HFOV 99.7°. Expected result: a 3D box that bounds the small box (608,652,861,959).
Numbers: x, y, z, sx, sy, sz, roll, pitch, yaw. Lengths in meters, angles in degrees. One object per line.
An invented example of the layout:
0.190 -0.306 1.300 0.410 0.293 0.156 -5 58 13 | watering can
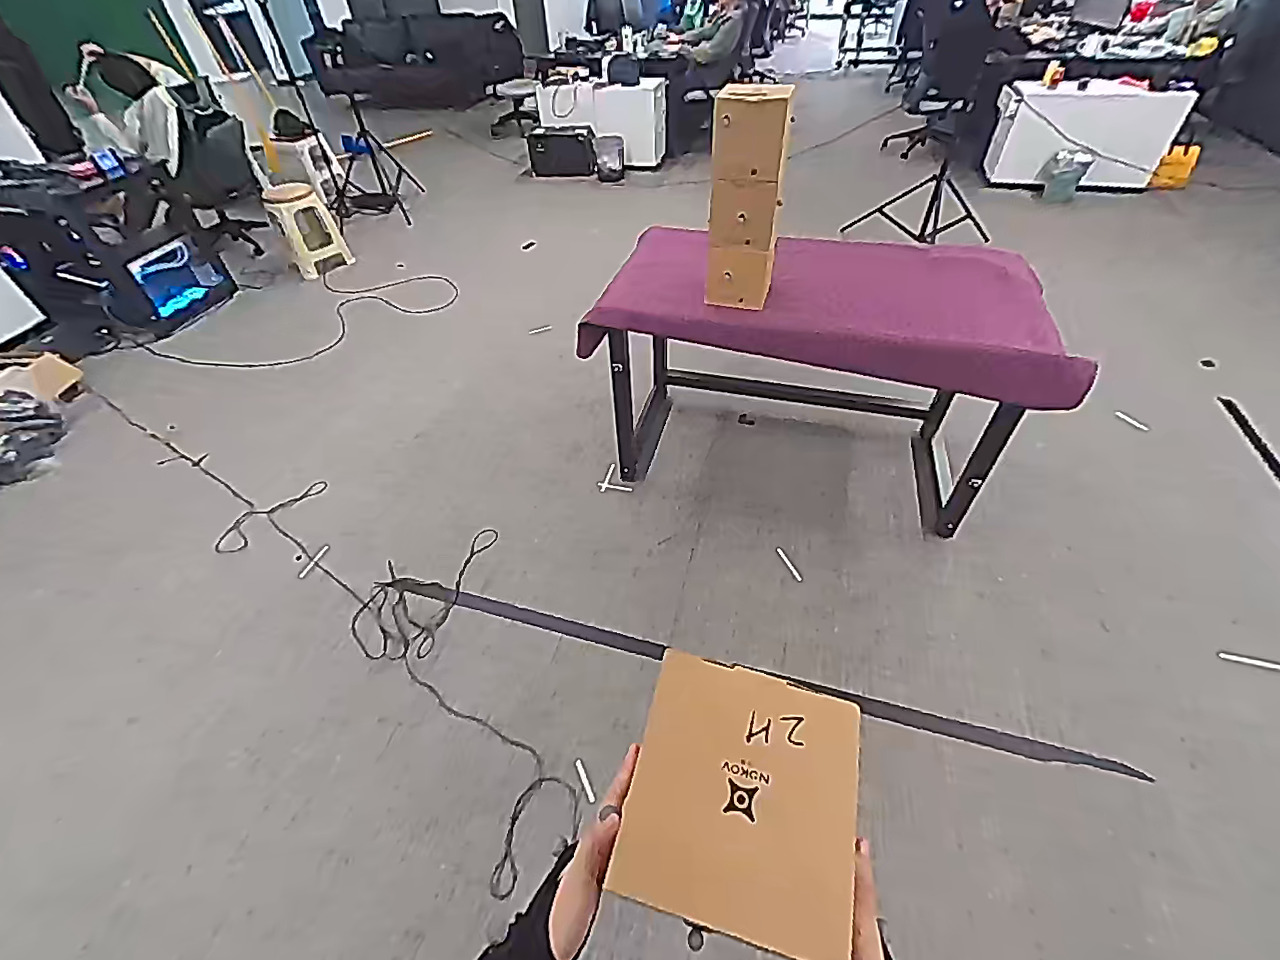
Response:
0.078 0.282 0.470 0.168 0.176 0.179 14 52 8 | small box

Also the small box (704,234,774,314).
0.280 -0.593 1.547 0.168 0.176 0.179 11 46 13 | small box

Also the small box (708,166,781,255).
0.274 -0.714 1.435 0.168 0.176 0.179 10 46 11 | small box
